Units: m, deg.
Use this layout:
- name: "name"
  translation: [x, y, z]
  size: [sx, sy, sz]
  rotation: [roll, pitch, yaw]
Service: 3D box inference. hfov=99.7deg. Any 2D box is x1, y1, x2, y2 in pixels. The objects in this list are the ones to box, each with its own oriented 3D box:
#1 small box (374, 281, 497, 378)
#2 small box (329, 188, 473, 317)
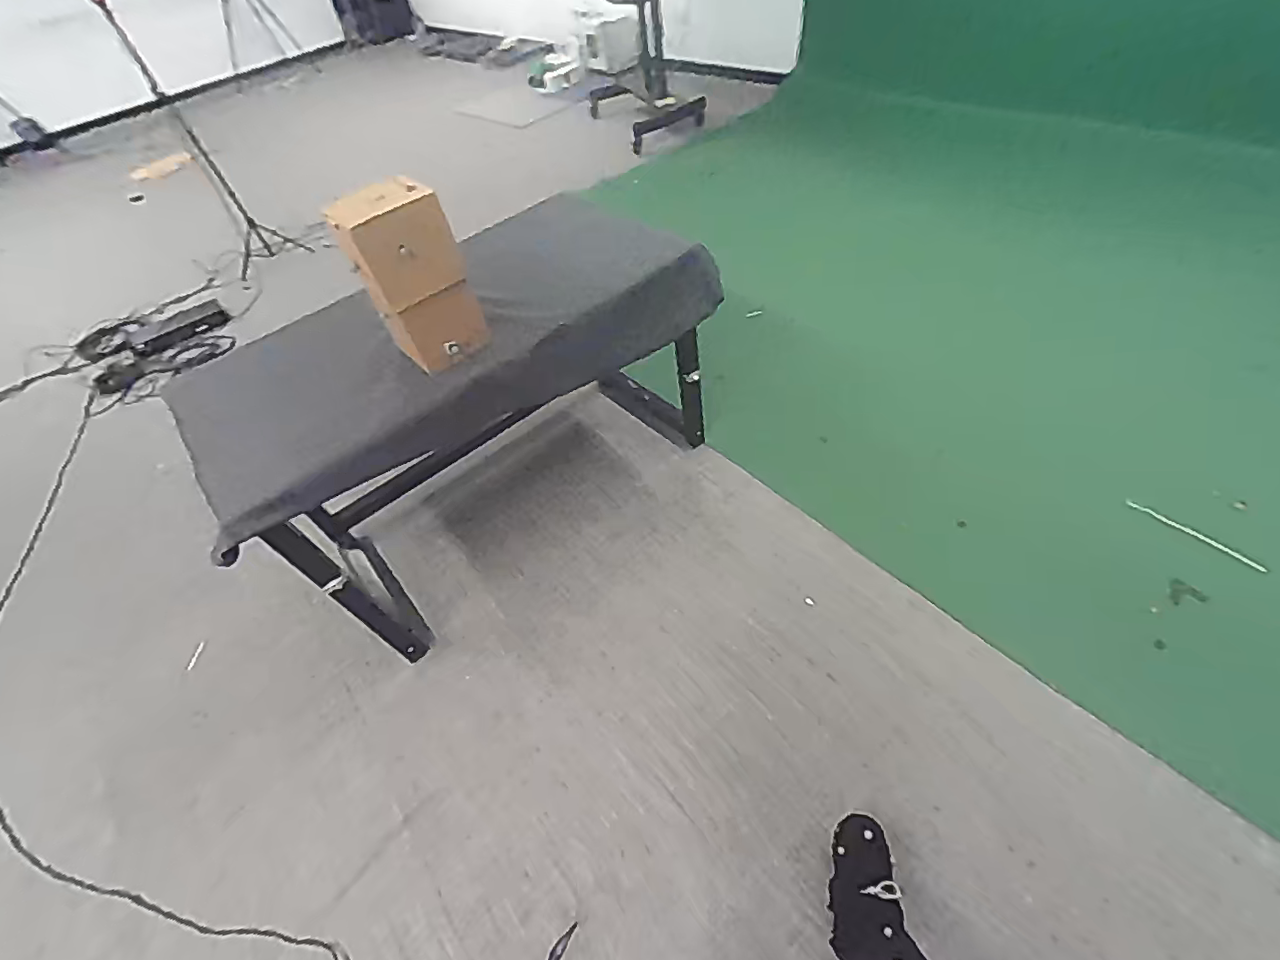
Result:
- name: "small box"
  translation: [-0.450, -0.354, 1.203]
  size: [0.168, 0.176, 0.179]
  rotation: [-39, 54, -20]
- name: "small box"
  translation: [-0.467, -0.451, 1.074]
  size: [0.179, 0.176, 0.168]
  rotation: [-39, 51, -21]
